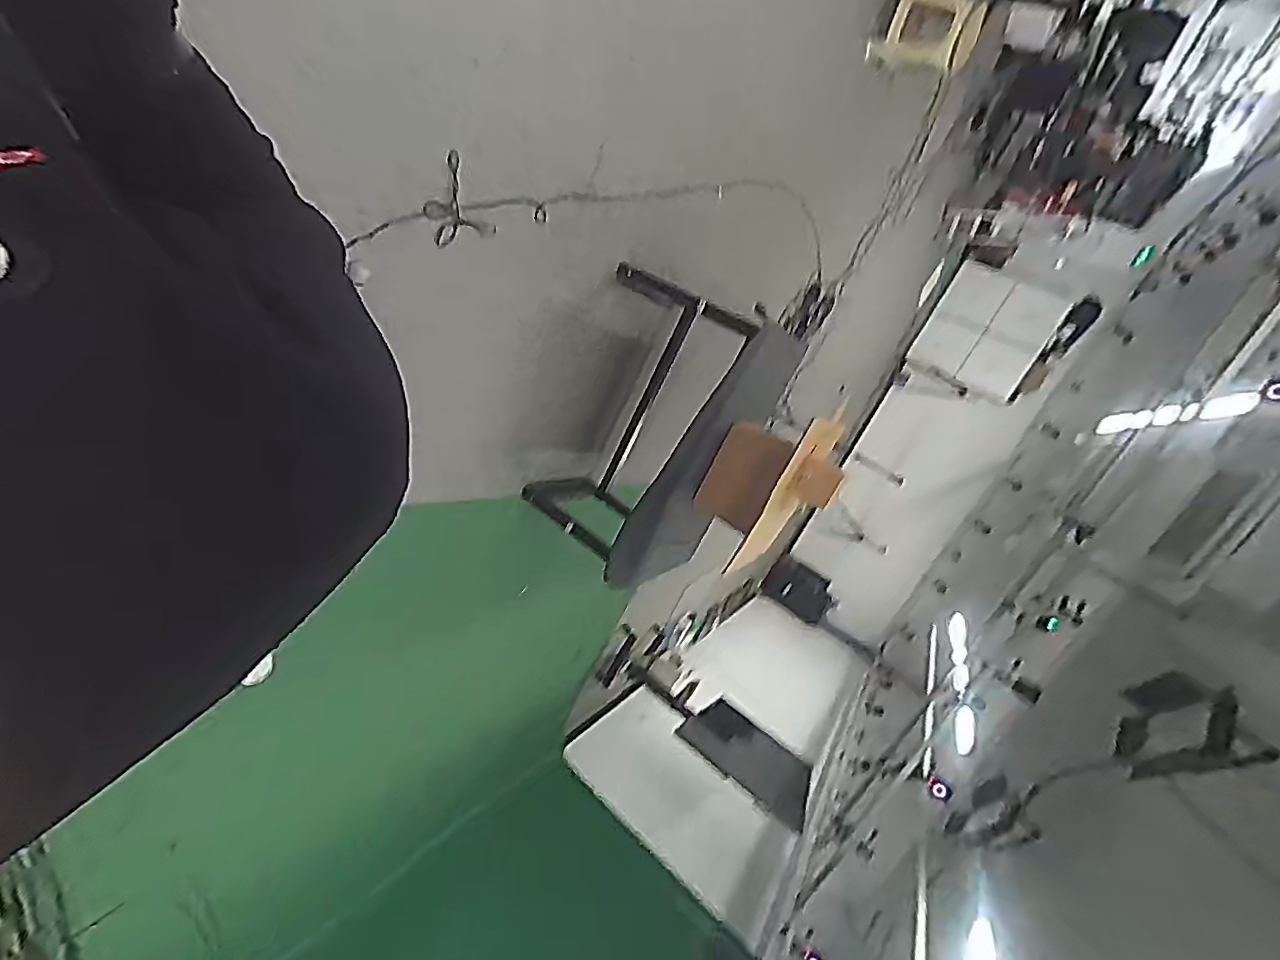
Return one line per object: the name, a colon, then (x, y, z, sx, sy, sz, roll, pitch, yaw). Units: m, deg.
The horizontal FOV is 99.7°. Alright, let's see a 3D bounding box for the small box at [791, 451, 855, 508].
small box: (0.732, -0.007, 2.167, 0.179, 0.176, 0.168, -3, 123, -59)
